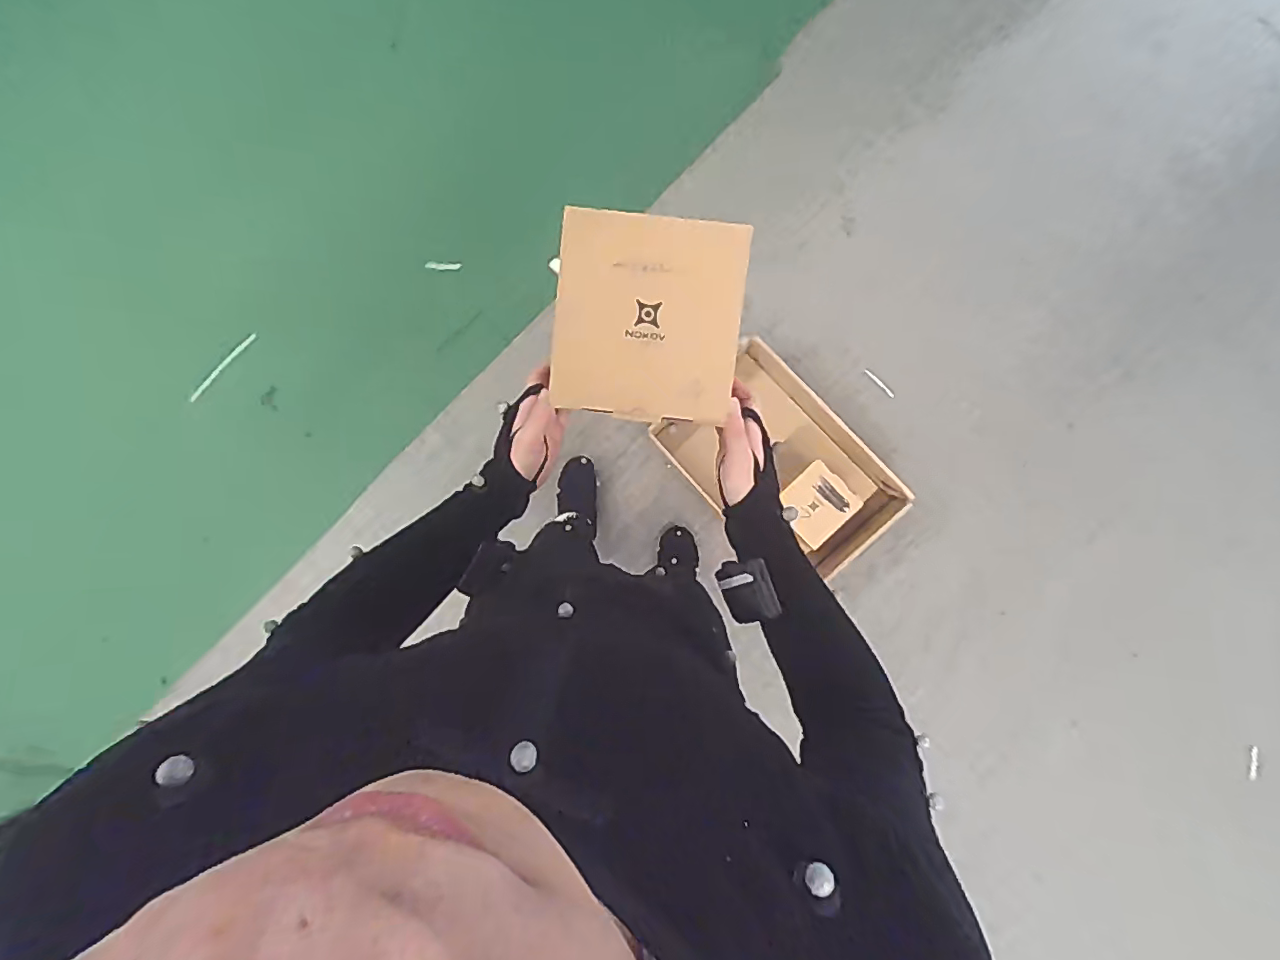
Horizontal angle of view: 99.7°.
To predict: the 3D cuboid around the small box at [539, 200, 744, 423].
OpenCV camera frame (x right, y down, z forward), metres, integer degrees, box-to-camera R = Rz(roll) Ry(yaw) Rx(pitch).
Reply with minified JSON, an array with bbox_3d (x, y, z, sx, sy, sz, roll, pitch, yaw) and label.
[{"bbox_3d":[0.002,-0.155,0.550,0.168,0.176,0.179,6,97,0],"label":"small box"}]
